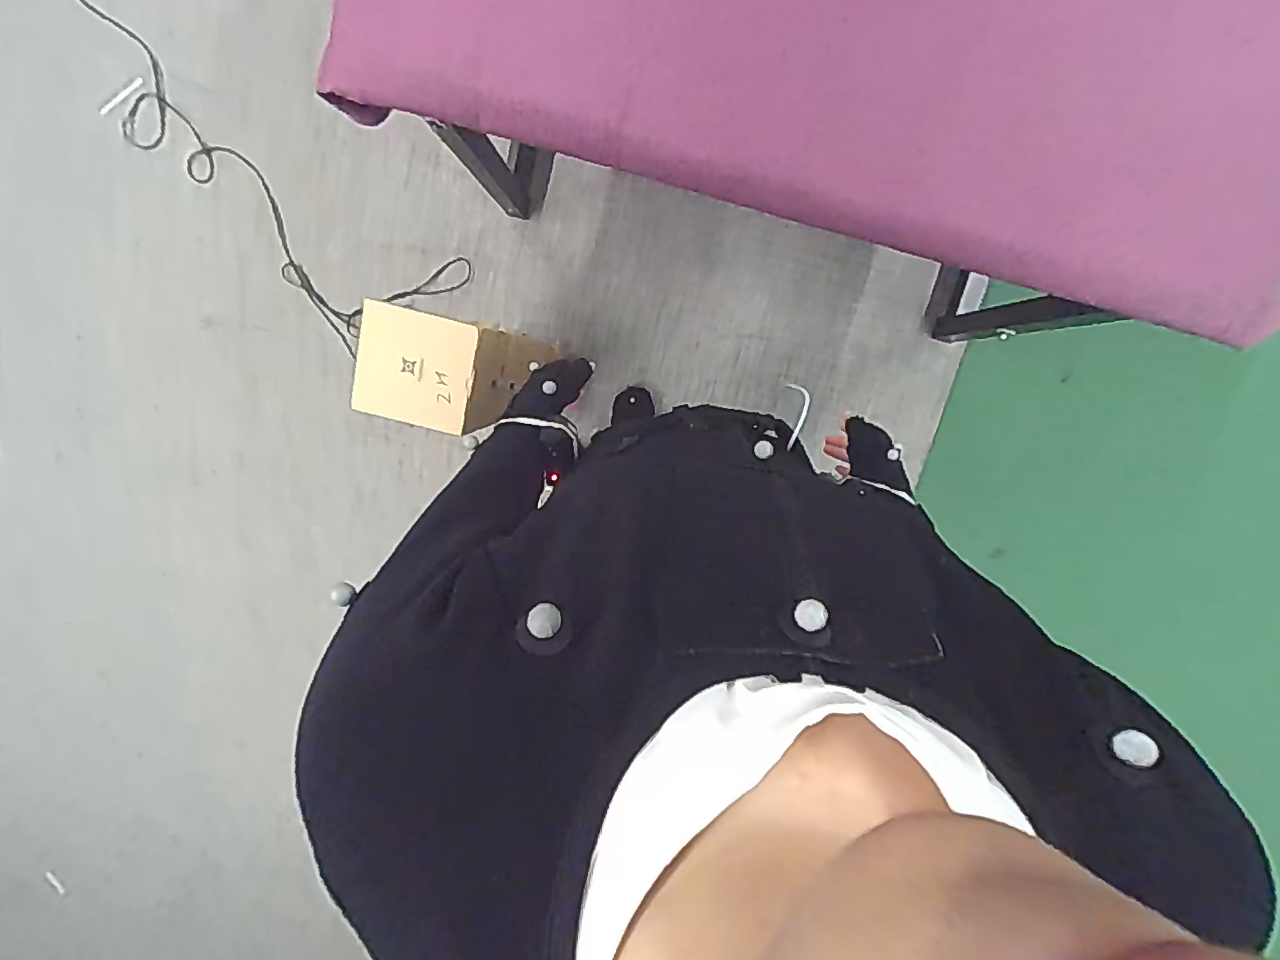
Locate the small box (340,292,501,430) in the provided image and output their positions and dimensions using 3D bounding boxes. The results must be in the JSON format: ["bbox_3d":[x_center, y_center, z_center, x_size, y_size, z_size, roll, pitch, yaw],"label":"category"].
[{"bbox_3d":[-0.343,-0.189,0.871,0.179,0.176,0.168,15,103,-2],"label":"small box"}]

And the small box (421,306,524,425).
[{"bbox_3d":[-0.330,-0.218,1.033,0.168,0.176,0.179,15,103,-2],"label":"small box"}]
